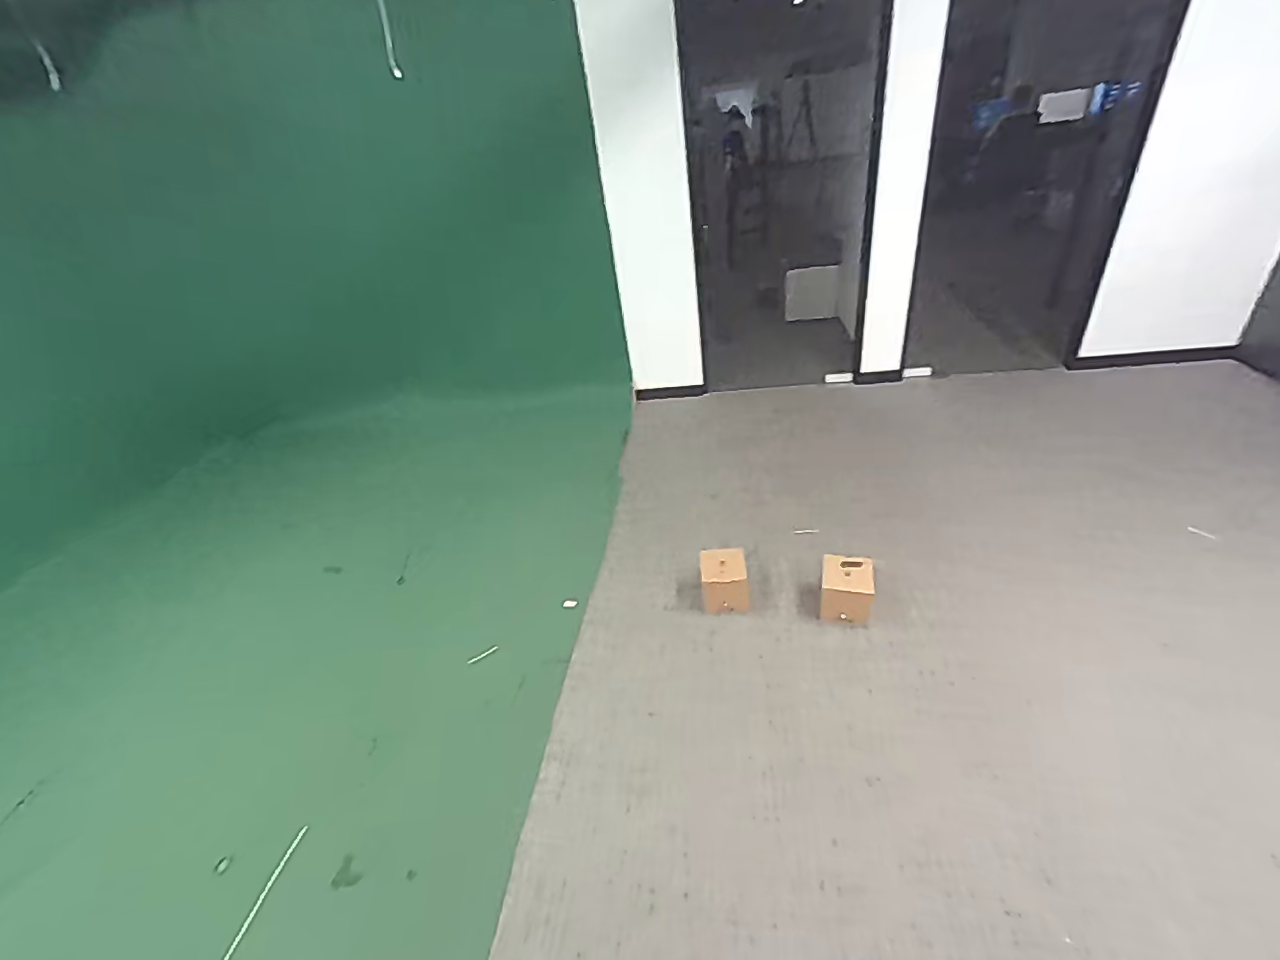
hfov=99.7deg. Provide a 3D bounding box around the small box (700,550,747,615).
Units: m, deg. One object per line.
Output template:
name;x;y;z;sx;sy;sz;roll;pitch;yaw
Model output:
small box;0.311;0.382;2.020;0.168;0.176;0.179;-4;33;7

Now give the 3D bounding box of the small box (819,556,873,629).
small box;0.722;0.395;1.903;0.168;0.176;0.179;4;35;19
